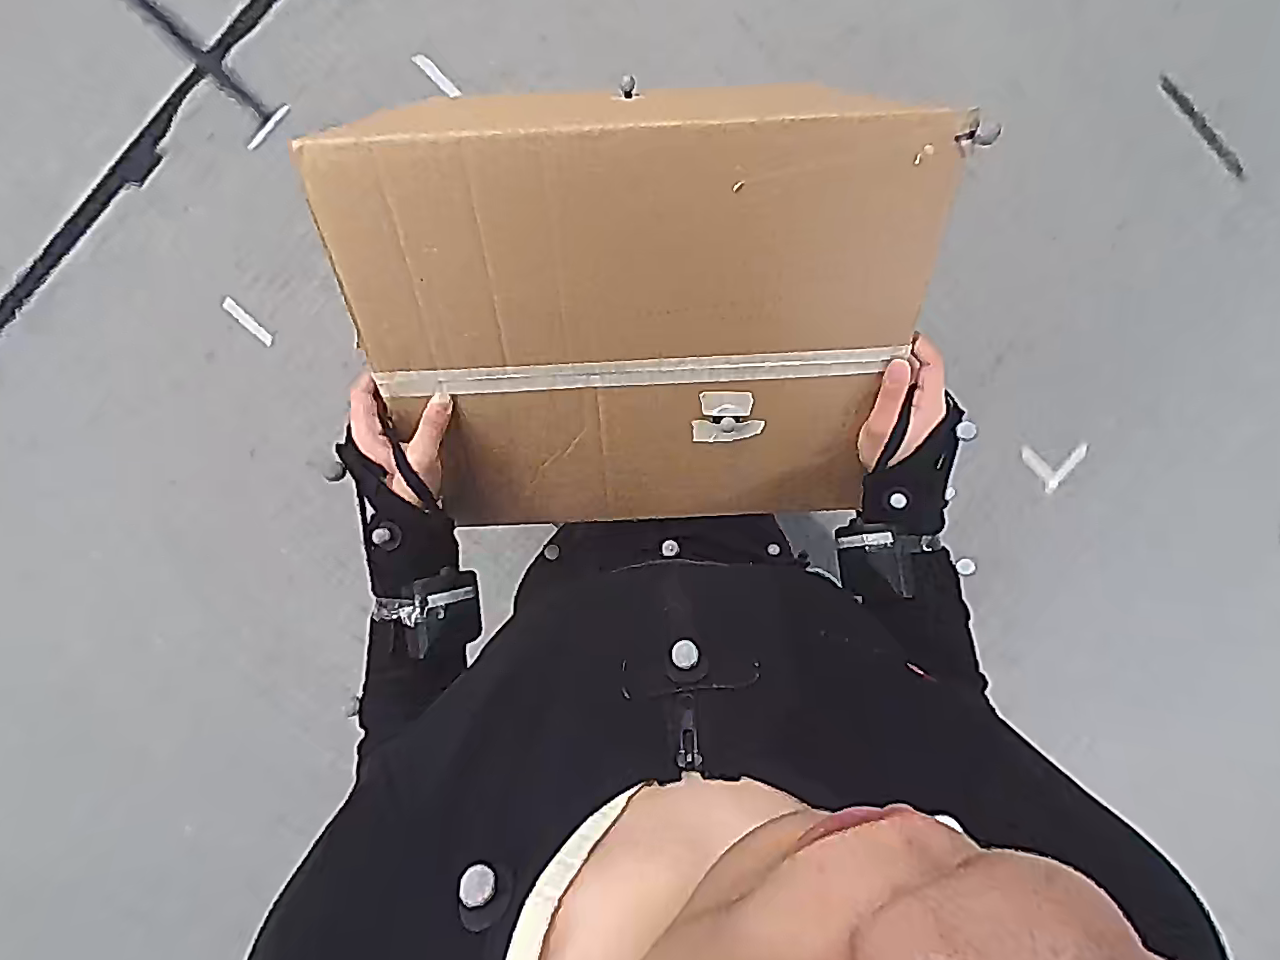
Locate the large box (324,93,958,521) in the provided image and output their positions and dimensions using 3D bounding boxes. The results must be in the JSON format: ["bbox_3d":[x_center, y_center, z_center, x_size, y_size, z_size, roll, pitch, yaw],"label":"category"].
[{"bbox_3d":[-0.001,-0.183,0.541,0.408,0.320,0.320,-3,130,-1],"label":"large box"}]

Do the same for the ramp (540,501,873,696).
[{"bbox_3d":[0.206,0.174,1.497,0.991,0.206,0.509,40,91,-9],"label":"ramp"}]
